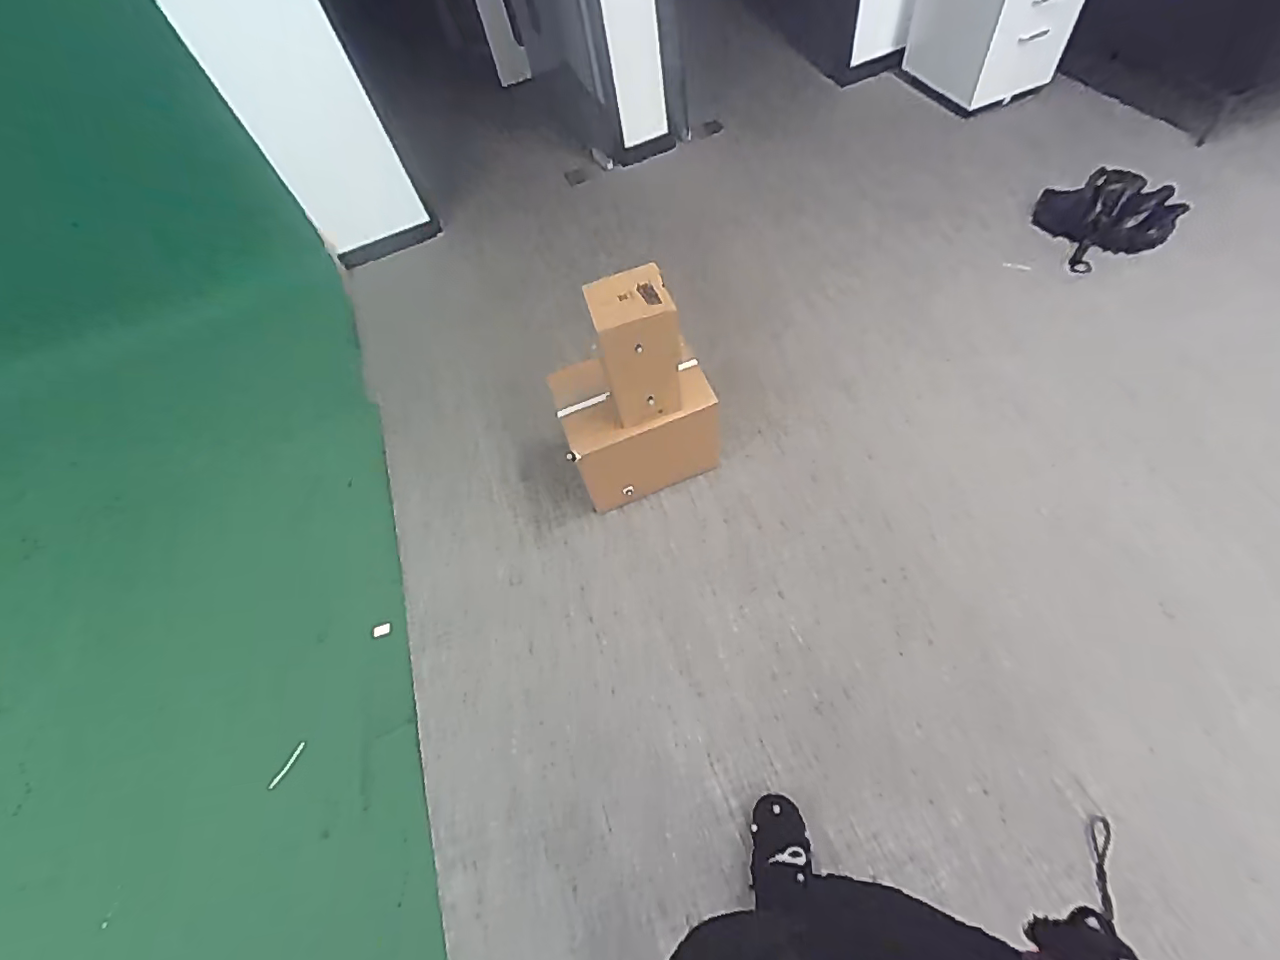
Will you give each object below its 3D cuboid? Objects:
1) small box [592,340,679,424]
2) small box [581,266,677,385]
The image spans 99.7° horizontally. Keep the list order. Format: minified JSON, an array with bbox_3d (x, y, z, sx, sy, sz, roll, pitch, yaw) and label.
[{"bbox_3d":[-0.008,-0.264,1.369,0.168,0.176,0.179,-20,59,-3],"label":"small box"},{"bbox_3d":[-0.019,-0.344,1.225,0.179,0.176,0.168,-17,58,0],"label":"small box"}]
